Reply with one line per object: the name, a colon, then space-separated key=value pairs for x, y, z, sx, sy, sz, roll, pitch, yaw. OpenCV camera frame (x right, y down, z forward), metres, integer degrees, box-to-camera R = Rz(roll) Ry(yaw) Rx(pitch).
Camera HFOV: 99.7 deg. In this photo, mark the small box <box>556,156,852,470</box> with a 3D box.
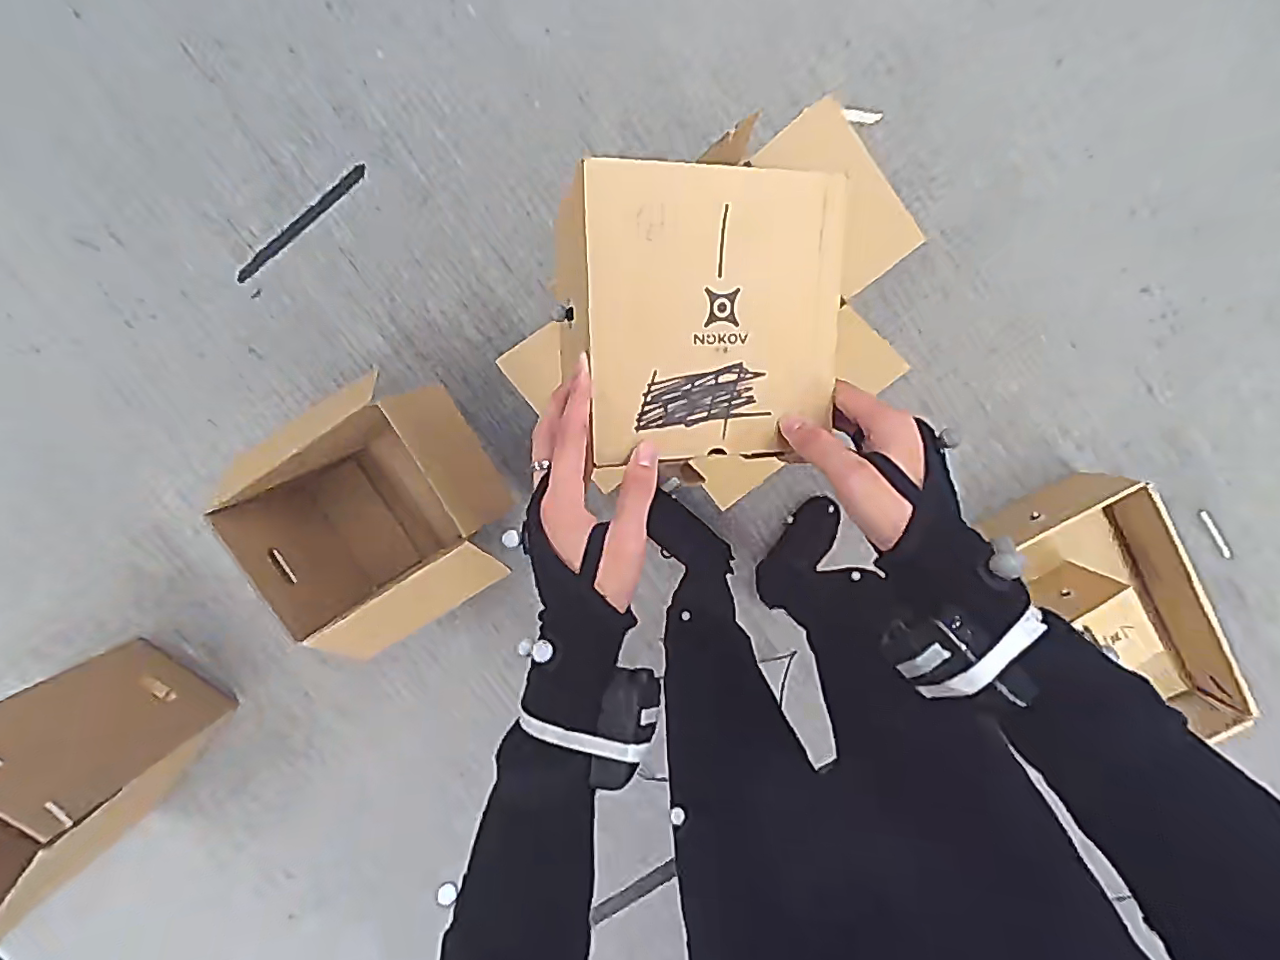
small box: x=0.030 y=-0.115 z=0.402 sx=0.168 sy=0.176 sz=0.179 roll=-5 pitch=105 yaw=-13
